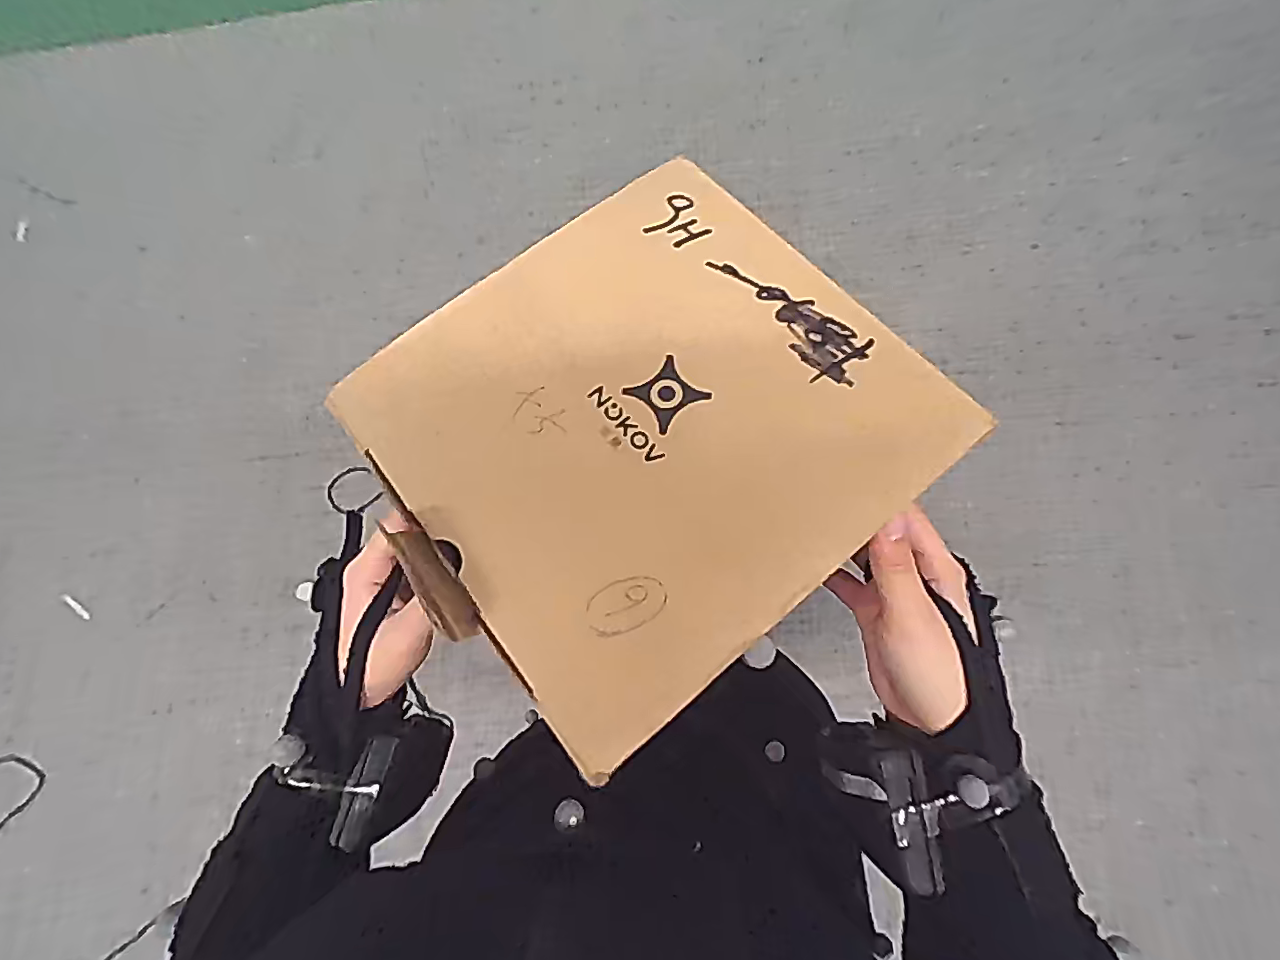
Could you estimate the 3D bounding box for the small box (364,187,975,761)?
[{"bbox_3d":[0.011,0.006,0.279,0.179,0.176,0.168,-38,74,-10],"label":"small box"}]
